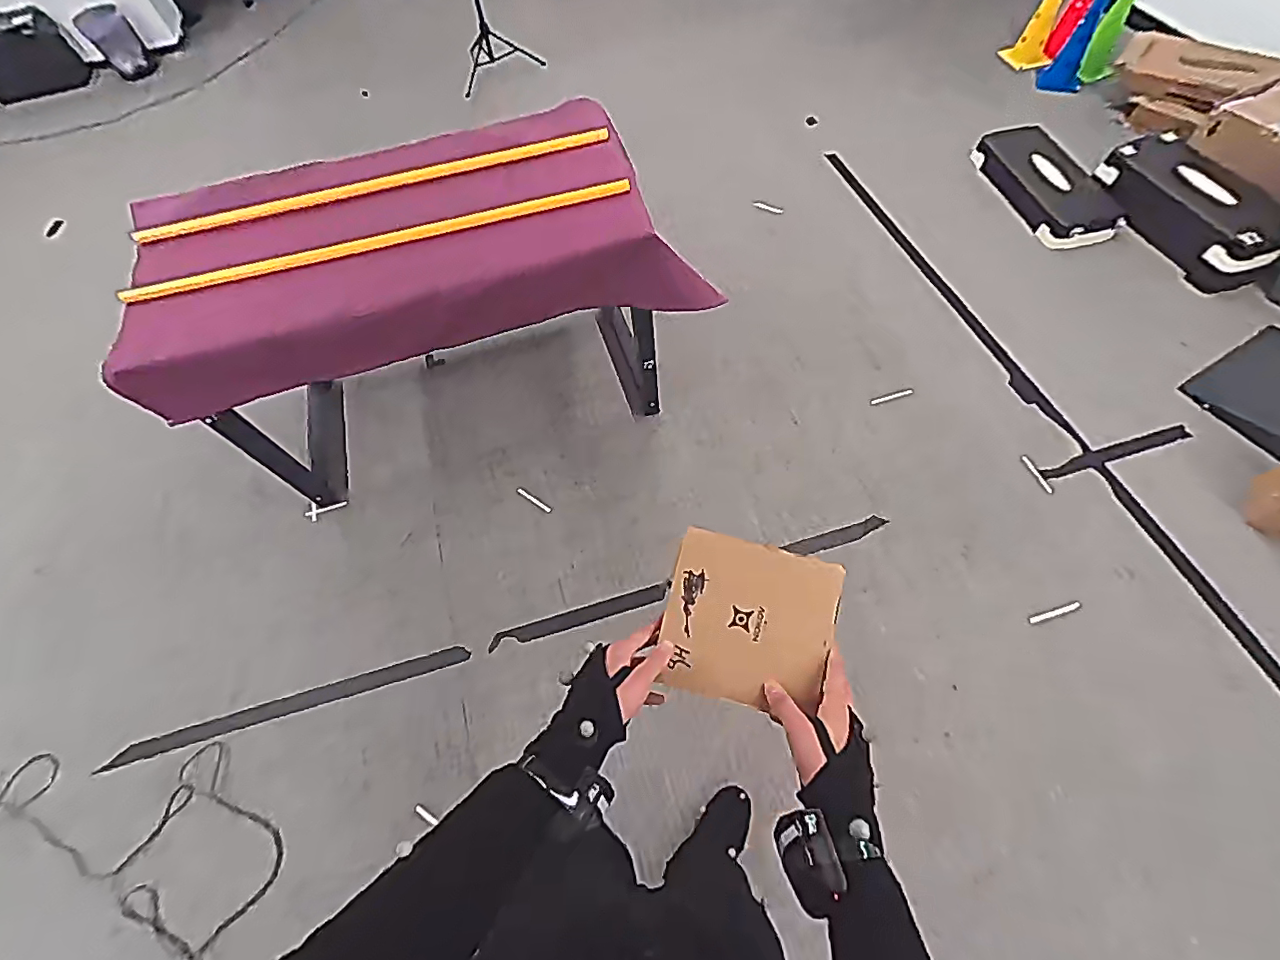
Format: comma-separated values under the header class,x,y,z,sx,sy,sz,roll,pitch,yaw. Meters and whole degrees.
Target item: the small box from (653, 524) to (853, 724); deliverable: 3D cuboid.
class,x,y,z,sx,sy,sz,roll,pitch,yaw
small box,0.119,0.159,0.634,0.179,0.176,0.168,15,80,4
